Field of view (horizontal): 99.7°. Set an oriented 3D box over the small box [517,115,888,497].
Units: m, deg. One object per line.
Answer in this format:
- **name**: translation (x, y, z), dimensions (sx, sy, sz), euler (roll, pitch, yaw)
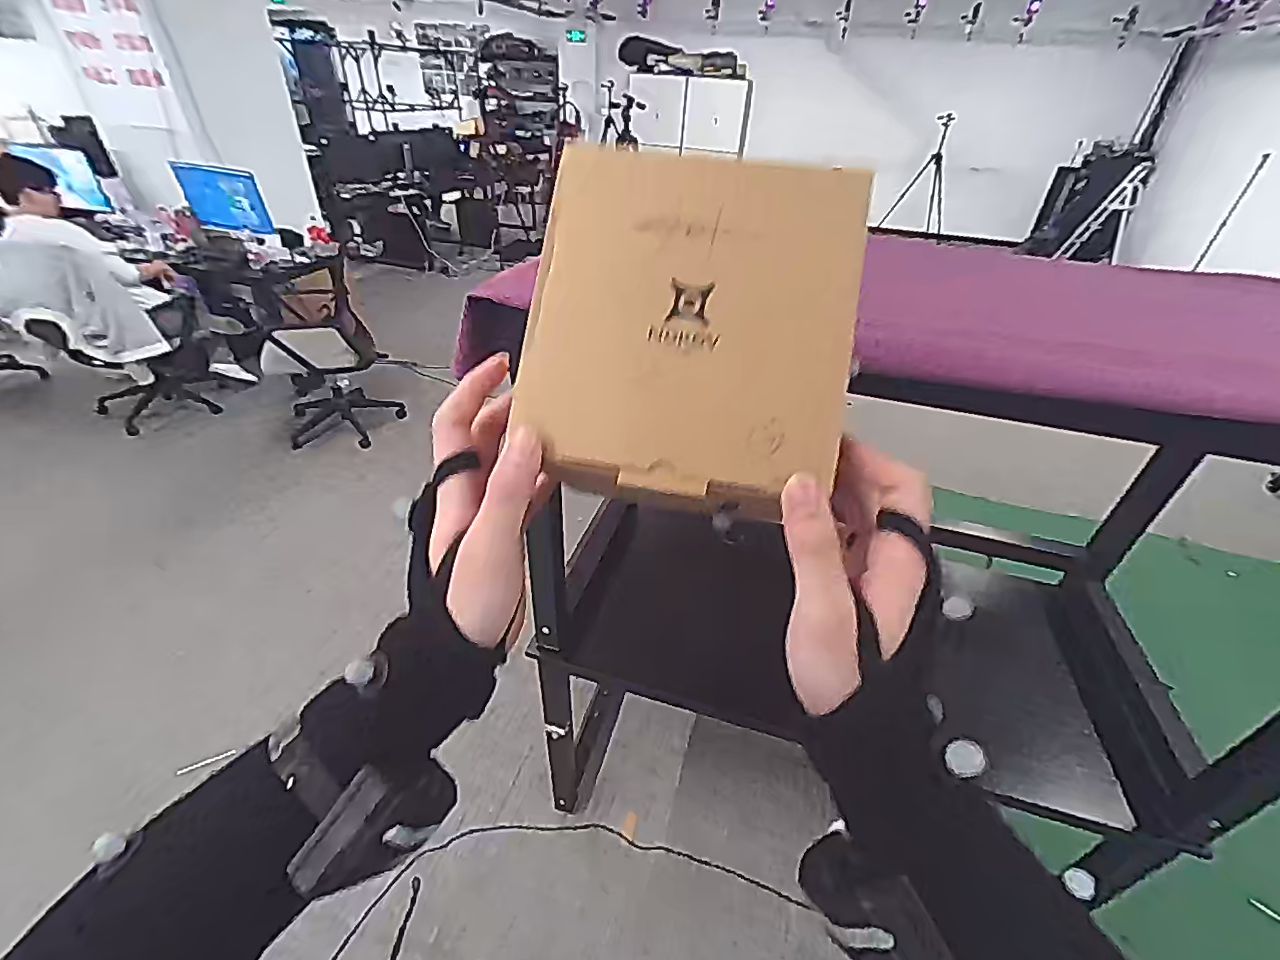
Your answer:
- **small box**: translation (0.039, -0.089, 0.352), dimensions (0.168, 0.179, 0.176), euler (9, -6, 6)
